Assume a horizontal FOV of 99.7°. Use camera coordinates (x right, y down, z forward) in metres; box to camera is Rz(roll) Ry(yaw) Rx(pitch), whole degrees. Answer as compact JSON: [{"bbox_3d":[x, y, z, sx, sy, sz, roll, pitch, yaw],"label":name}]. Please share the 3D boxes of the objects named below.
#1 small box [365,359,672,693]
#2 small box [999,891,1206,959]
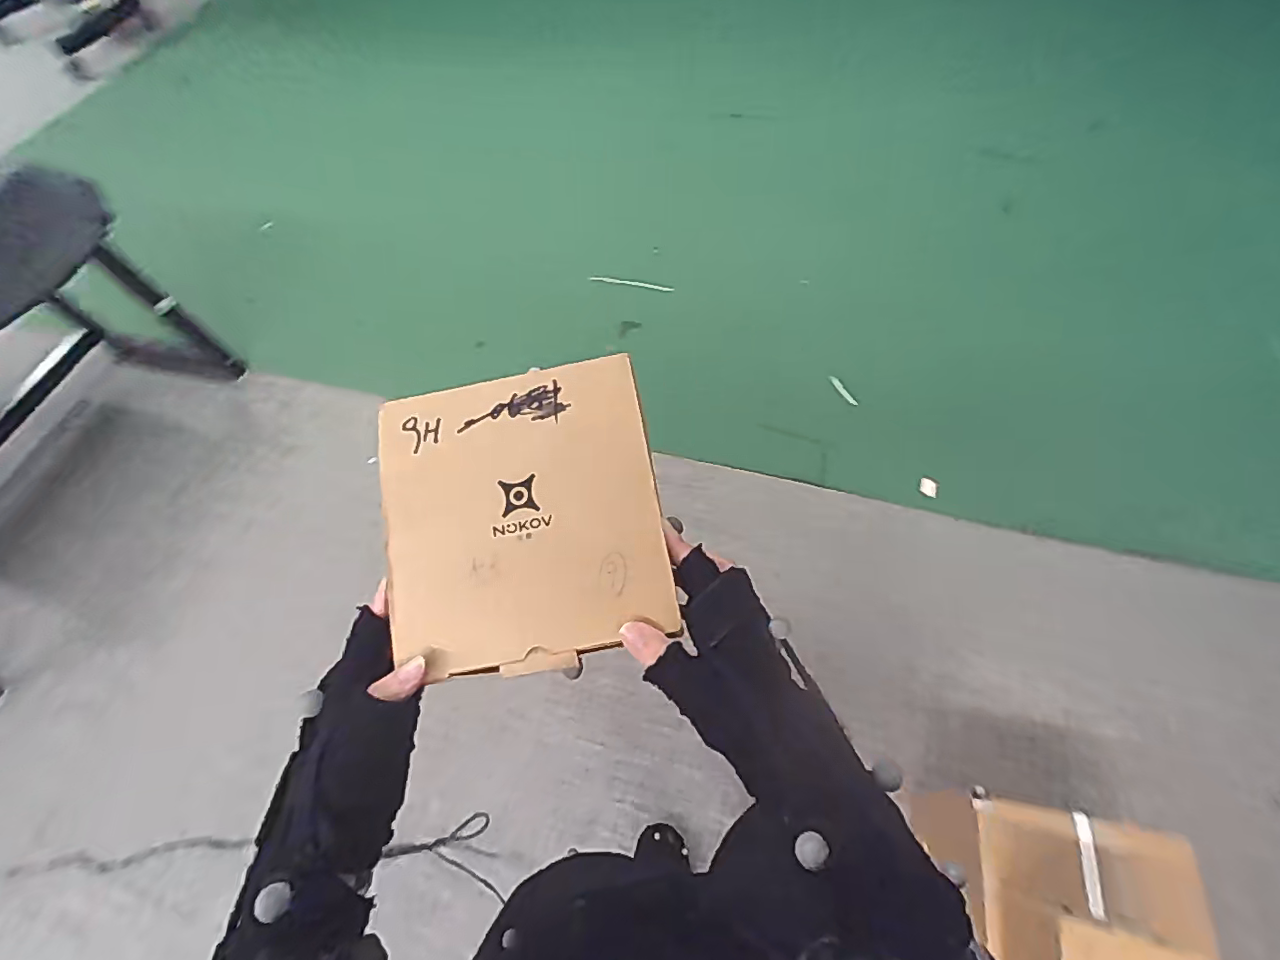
[{"bbox_3d":[-0.073,0.039,0.399,0.168,0.176,0.179,-12,76,1],"label":"small box"},{"bbox_3d":[0.593,0.672,0.702,0.168,0.176,0.179,9,64,13],"label":"small box"}]
